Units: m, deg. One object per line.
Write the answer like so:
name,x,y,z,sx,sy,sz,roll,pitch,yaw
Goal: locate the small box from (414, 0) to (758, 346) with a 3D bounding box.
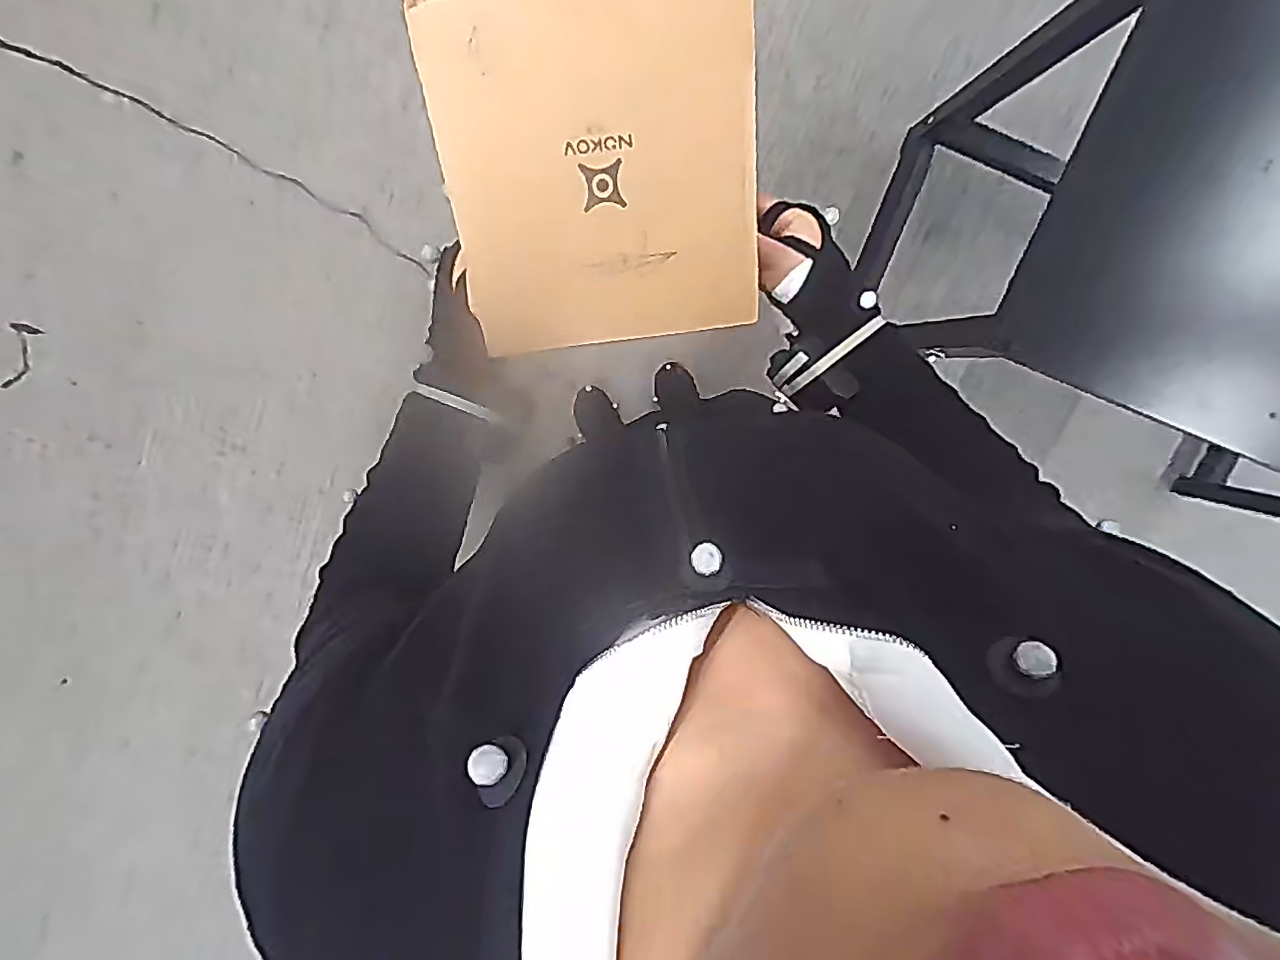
small box,-0.021,-0.204,0.363,0.168,0.176,0.179,-7,119,3
